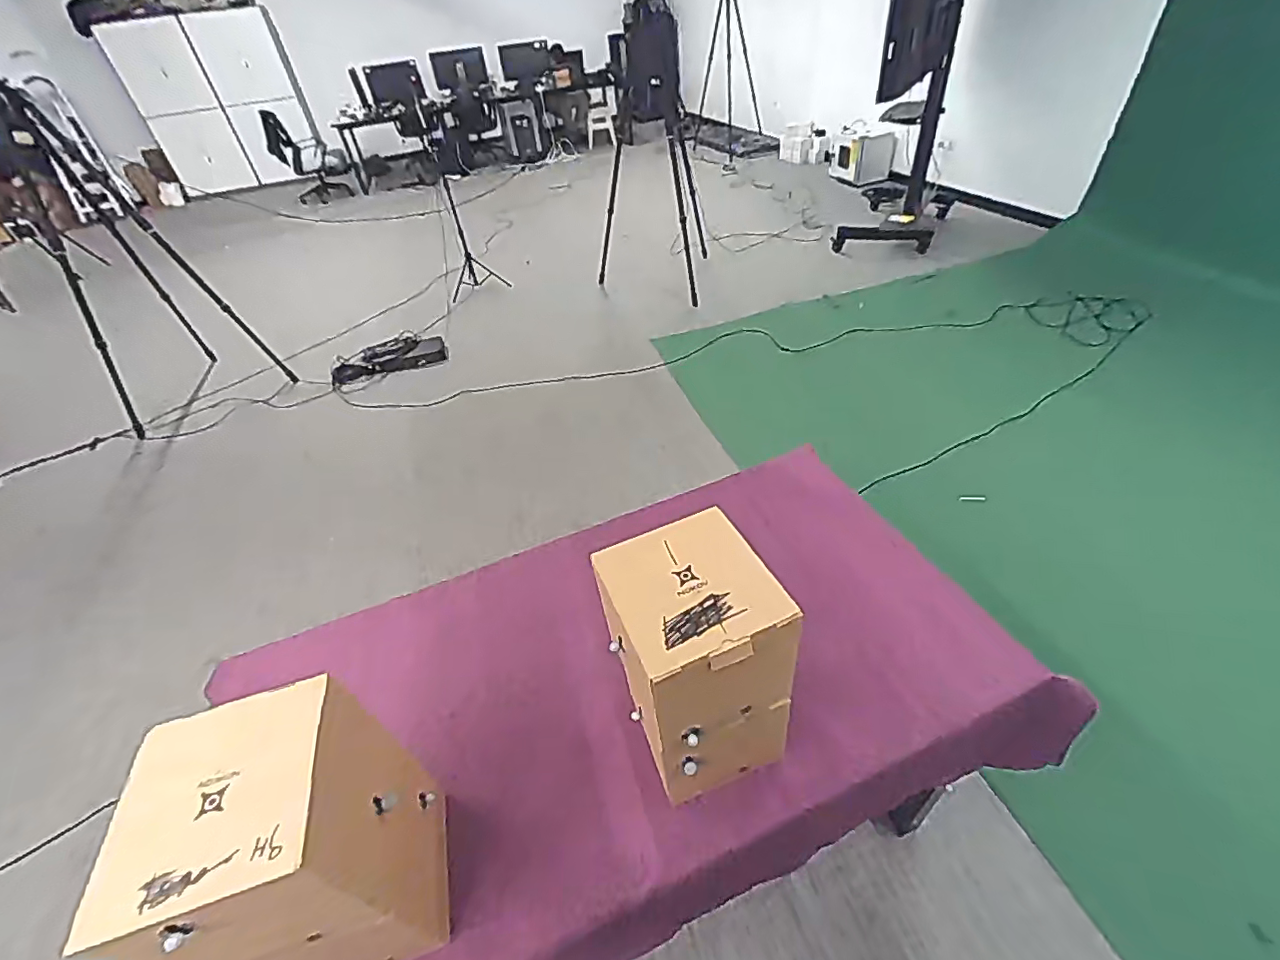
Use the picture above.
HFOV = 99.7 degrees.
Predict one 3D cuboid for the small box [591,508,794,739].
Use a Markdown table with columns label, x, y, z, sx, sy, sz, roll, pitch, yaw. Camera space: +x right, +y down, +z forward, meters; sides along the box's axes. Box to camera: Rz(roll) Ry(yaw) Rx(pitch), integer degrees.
| label | x | y | z | sx | sy | sz | roll | pitch | yaw |
| --- | --- | --- | --- | --- | --- | --- | --- | --- | --- |
| small box | 0.059 | 0.169 | 0.627 | 0.168 | 0.176 | 0.179 | -20 | 41 | -13 |

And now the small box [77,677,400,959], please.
| label | x | y | z | sx | sy | sz | roll | pitch | yaw |
| --- | --- | --- | --- | --- | --- | --- | --- | --- | --- |
| small box | -0.348 | 0.330 | 0.518 | 0.168 | 0.176 | 0.179 | -18 | 41 | -8 |

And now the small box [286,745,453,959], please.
| label | x | y | z | sx | sy | sz | roll | pitch | yaw |
| --- | --- | --- | --- | --- | --- | --- | --- | --- | --- |
| small box | -0.328 | 0.451 | 0.628 | 0.168 | 0.176 | 0.179 | -17 | 43 | -8 |
